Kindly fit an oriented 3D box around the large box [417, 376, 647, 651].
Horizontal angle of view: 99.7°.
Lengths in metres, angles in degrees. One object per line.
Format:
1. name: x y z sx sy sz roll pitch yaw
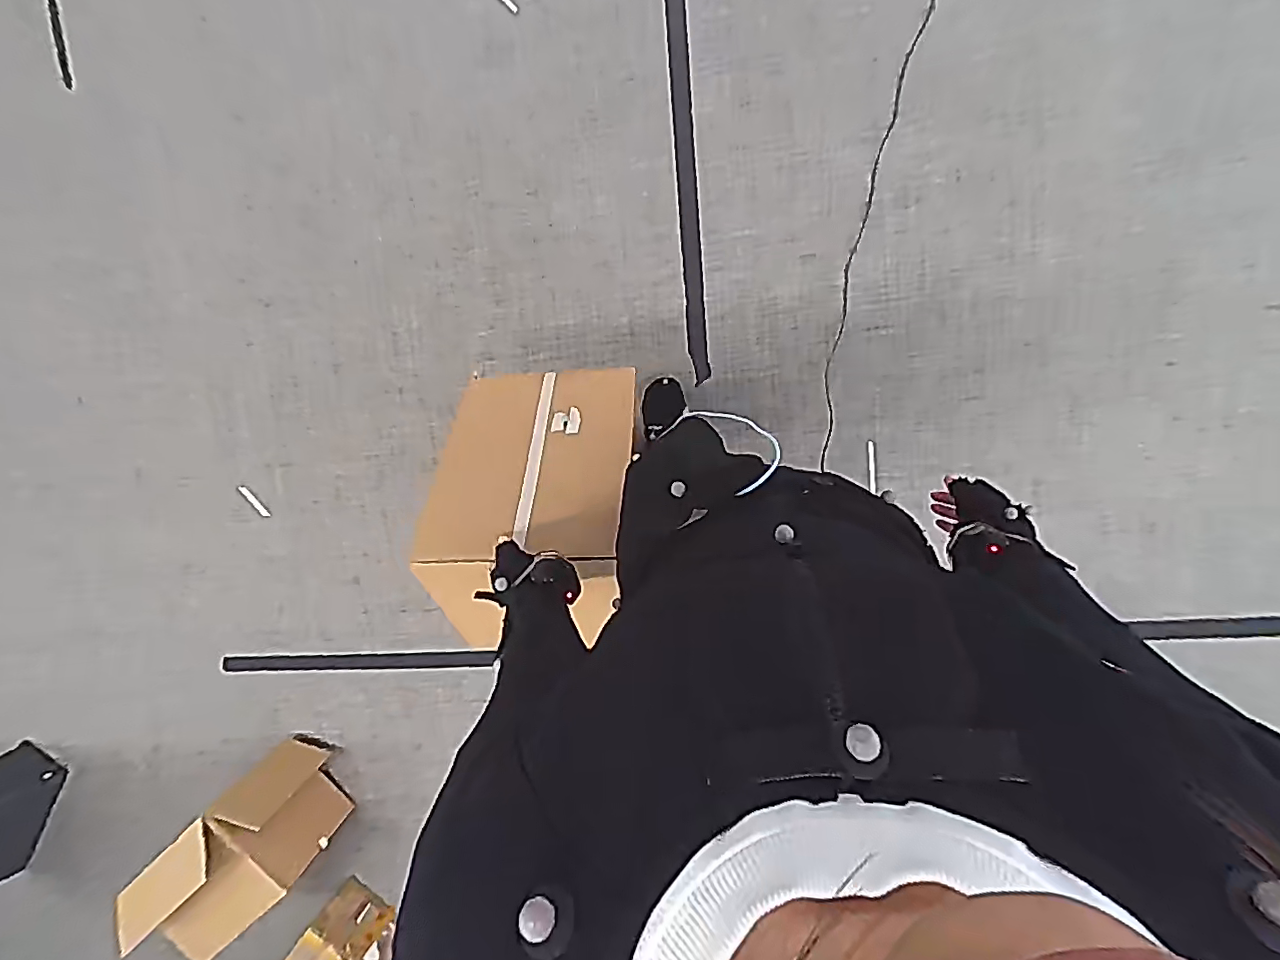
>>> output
1. large box: -0.156 0.062 1.006 0.320 0.408 0.320 -3 139 5
